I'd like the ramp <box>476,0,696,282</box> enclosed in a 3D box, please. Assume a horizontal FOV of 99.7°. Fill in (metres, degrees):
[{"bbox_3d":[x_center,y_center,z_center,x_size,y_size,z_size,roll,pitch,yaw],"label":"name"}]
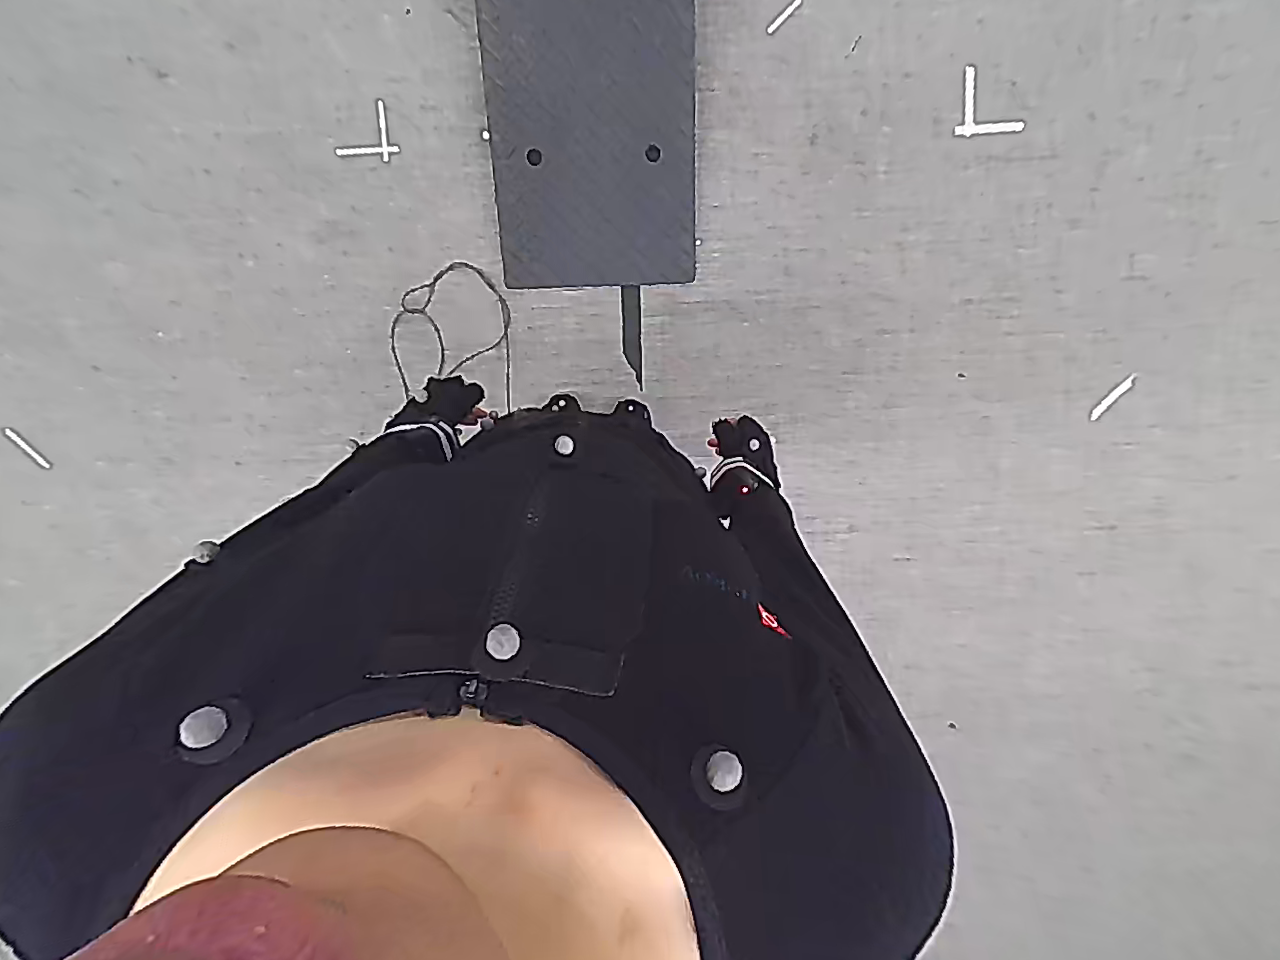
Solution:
[{"bbox_3d":[-0.115,-0.989,1.229,0.509,0.206,0.991,-4,100,-2],"label":"ramp"}]
